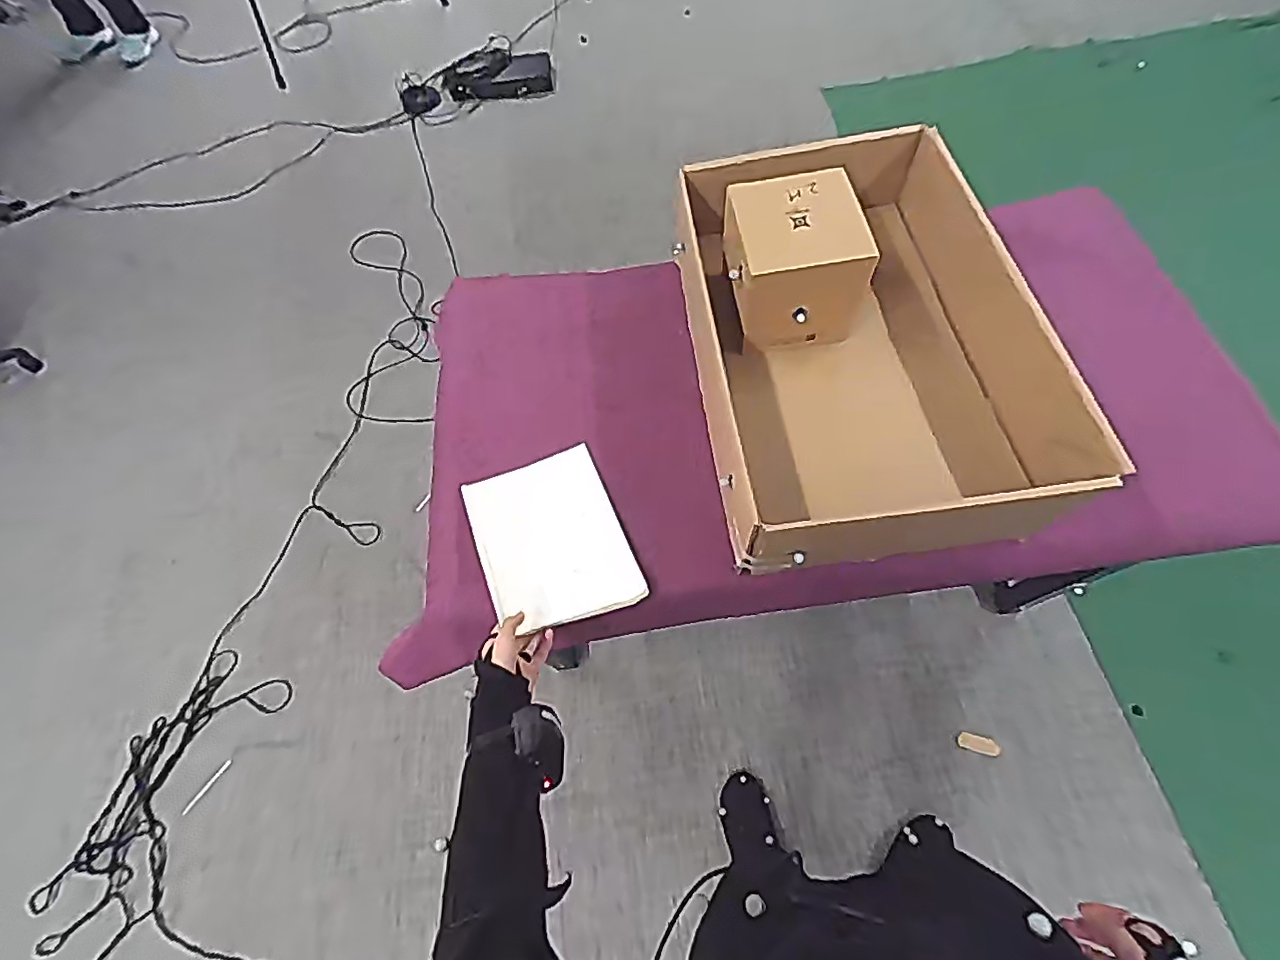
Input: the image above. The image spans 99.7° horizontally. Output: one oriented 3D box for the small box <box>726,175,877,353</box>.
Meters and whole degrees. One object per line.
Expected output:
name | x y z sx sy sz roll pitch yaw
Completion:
small box | 0.223 -0.305 0.797 0.168 0.176 0.179 -8 64 2
